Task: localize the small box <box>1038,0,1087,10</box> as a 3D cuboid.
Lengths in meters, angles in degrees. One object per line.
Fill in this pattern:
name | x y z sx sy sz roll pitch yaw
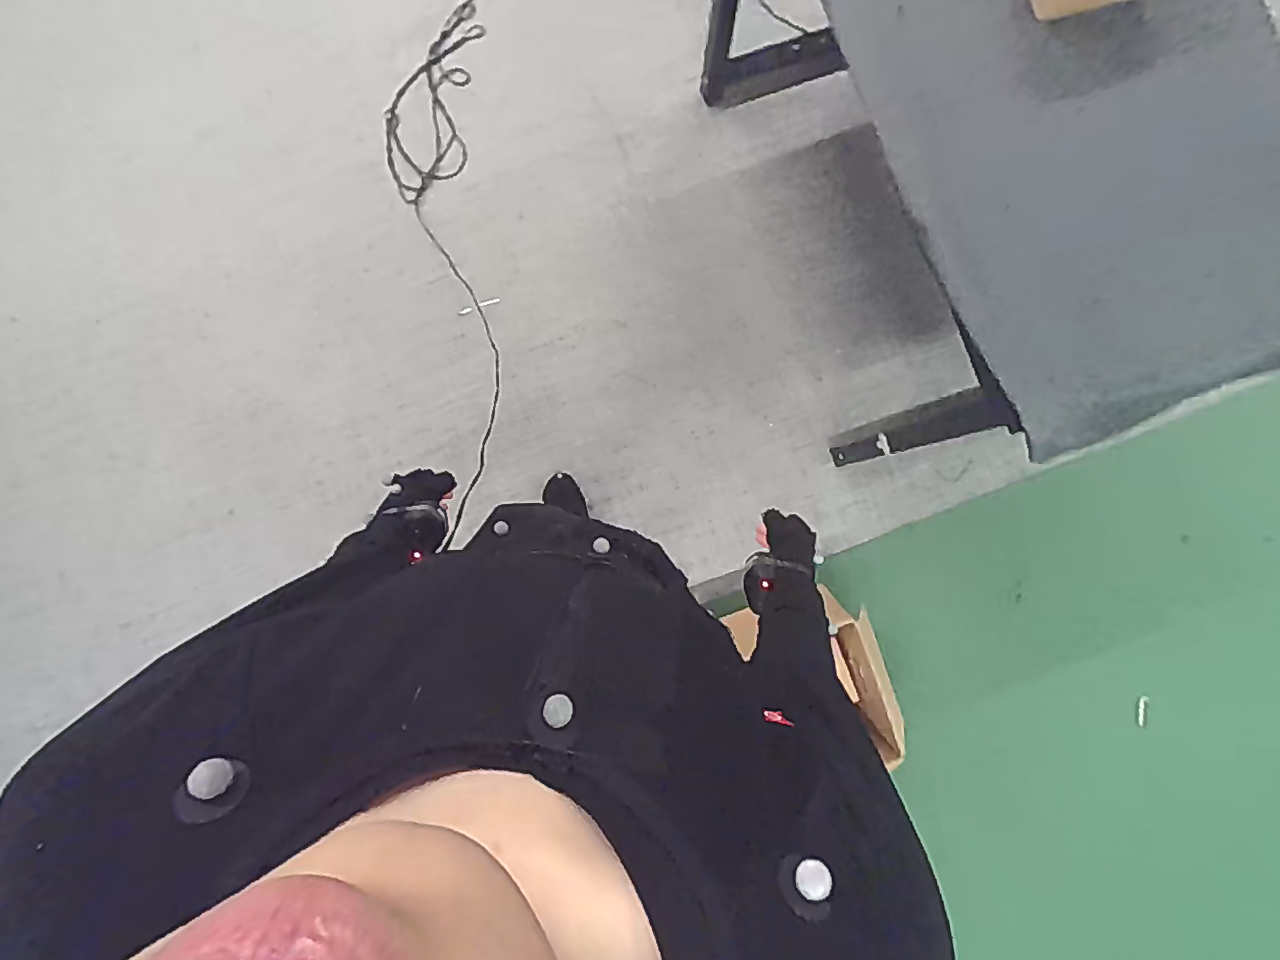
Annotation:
small box | 0.662 -0.799 0.737 0.179 0.176 0.168 -15 87 -2
